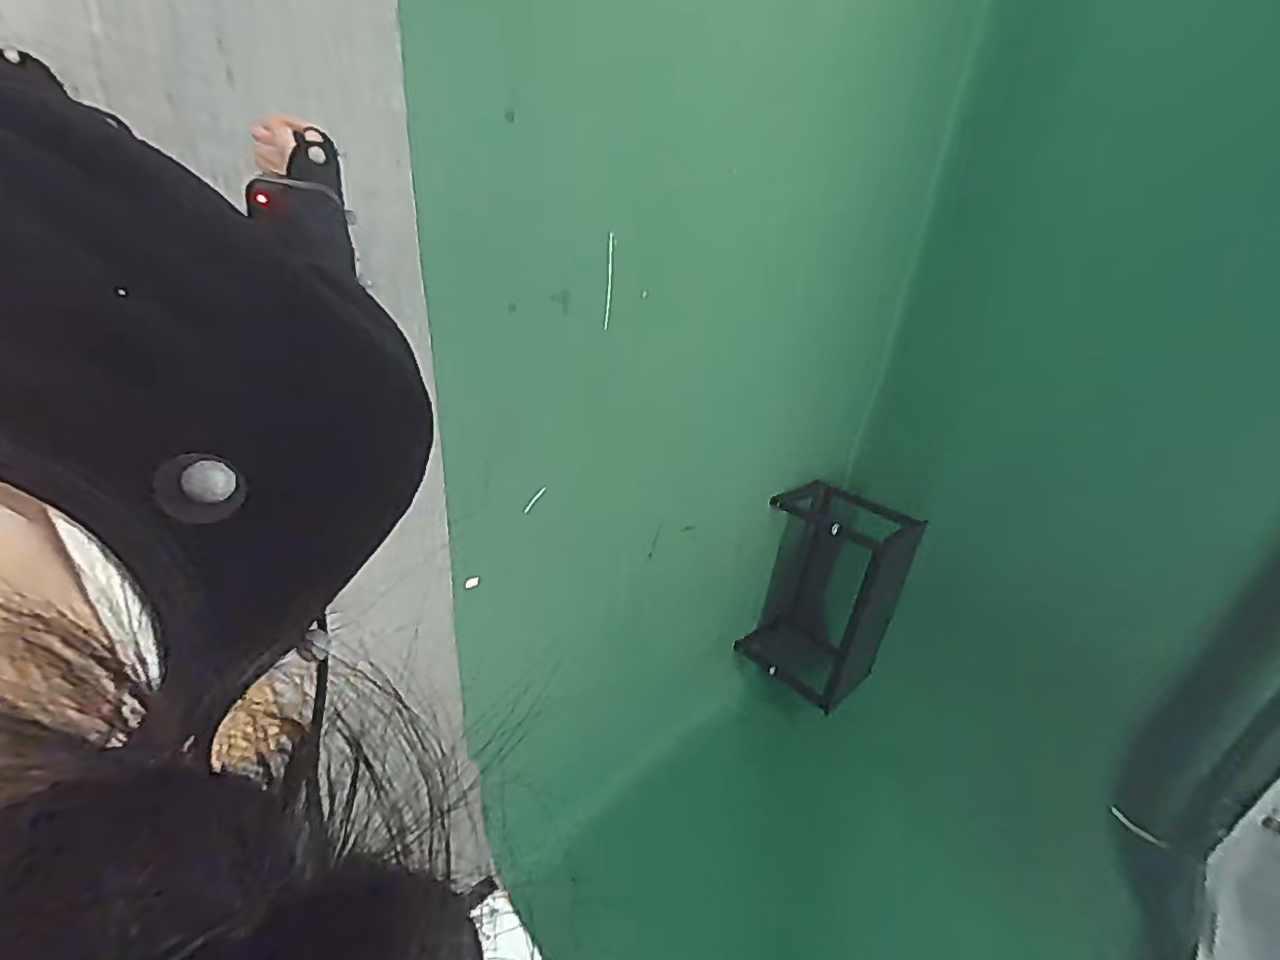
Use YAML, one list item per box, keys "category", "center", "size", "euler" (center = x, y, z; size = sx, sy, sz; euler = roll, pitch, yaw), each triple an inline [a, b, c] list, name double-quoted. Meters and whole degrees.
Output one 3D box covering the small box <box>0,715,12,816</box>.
- category: "small box"
  center: [-1.392, 0.583, 1.073]
  size: [0.168, 0.176, 0.179]
  euler: [-10, 119, -43]
